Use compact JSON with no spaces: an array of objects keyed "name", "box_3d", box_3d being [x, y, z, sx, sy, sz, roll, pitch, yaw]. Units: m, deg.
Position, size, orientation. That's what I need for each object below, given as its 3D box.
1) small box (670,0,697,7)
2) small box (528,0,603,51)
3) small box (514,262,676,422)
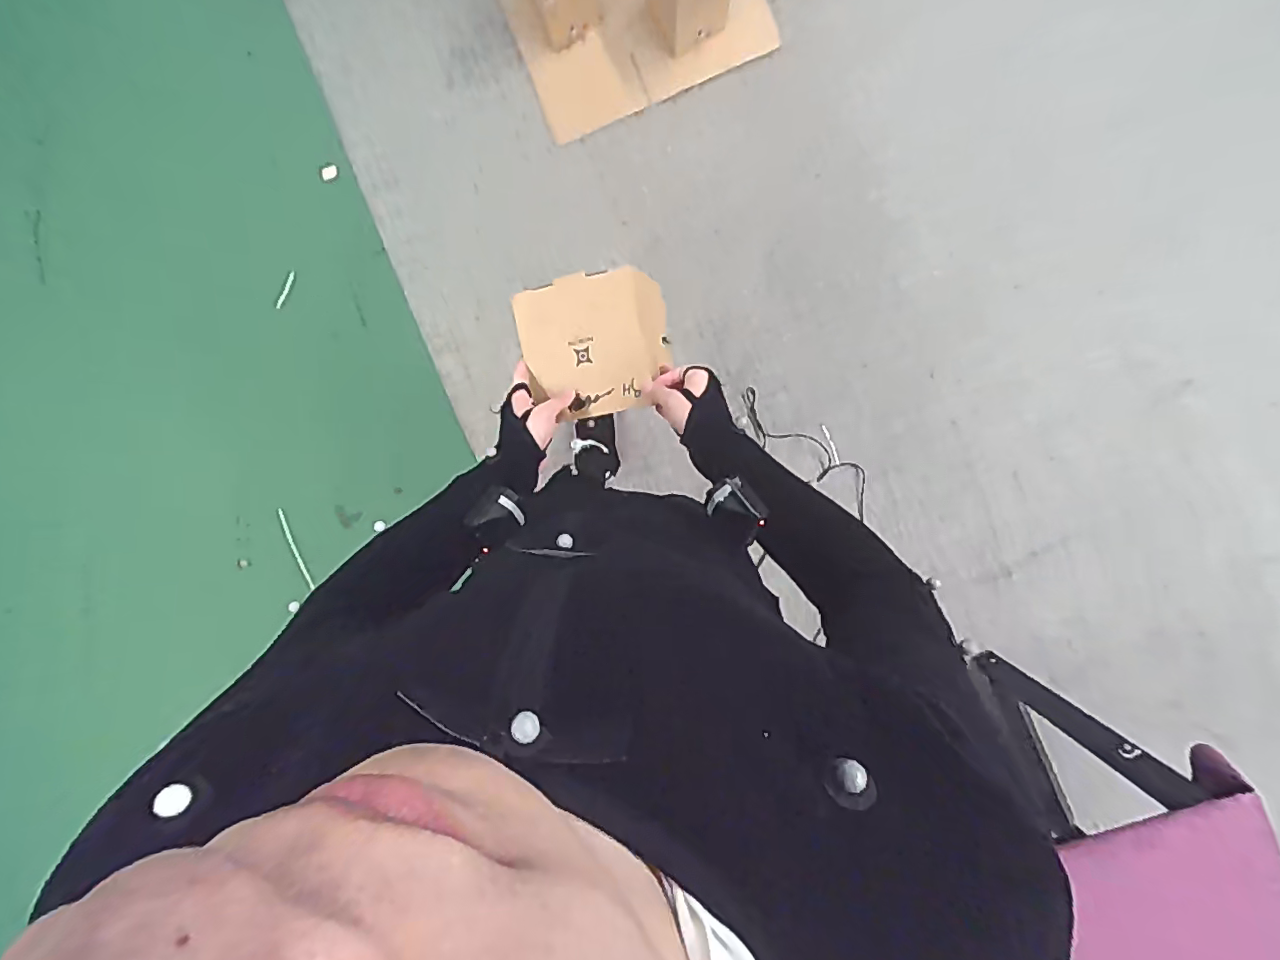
[{"name":"small box","box_3d":[0.121,-1.272,1.267,0.168,0.176,0.179,-28,91,4]},{"name":"small box","box_3d":[-0.215,-1.325,1.455,0.168,0.176,0.179,-29,92,5]},{"name":"small box","box_3d":[-0.052,-0.184,0.759,0.168,0.176,0.179,-8,99,15]}]
